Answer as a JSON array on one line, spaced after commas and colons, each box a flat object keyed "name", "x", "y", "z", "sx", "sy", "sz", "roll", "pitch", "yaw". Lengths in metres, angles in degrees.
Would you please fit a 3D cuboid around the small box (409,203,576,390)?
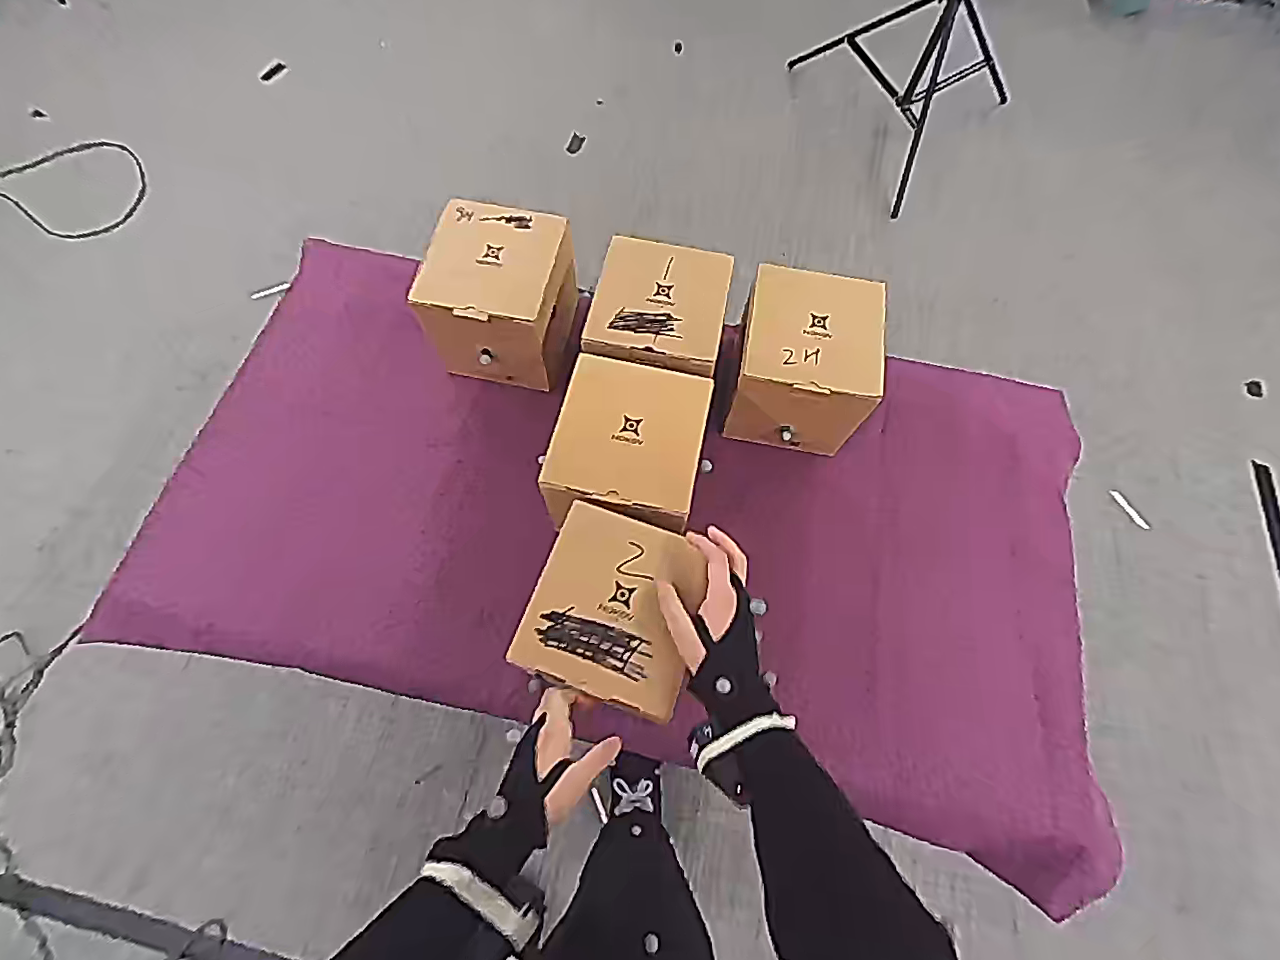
[{"name": "small box", "x": -0.192, "y": -0.250, "z": 0.766, "sx": 0.168, "sy": 0.176, "sz": 0.179, "roll": 11, "pitch": 70, "yaw": 2}]
